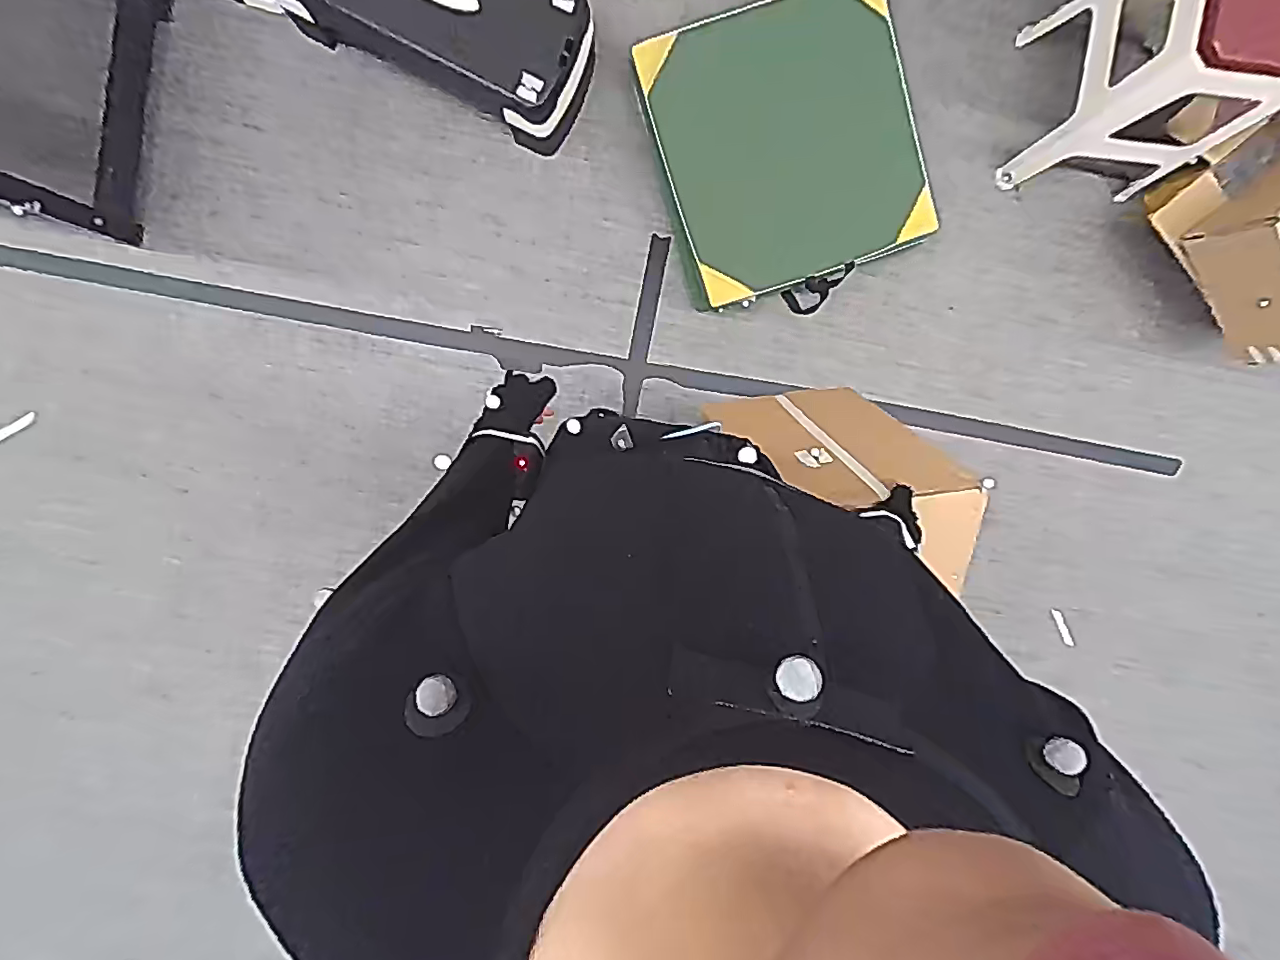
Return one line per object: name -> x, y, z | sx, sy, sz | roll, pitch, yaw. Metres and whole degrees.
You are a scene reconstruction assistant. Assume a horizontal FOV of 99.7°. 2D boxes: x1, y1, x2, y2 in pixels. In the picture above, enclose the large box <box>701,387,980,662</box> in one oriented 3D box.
large box -> 0.313, 0.058, 1.001 | 0.320, 0.408, 0.320 | -9, 123, -6
